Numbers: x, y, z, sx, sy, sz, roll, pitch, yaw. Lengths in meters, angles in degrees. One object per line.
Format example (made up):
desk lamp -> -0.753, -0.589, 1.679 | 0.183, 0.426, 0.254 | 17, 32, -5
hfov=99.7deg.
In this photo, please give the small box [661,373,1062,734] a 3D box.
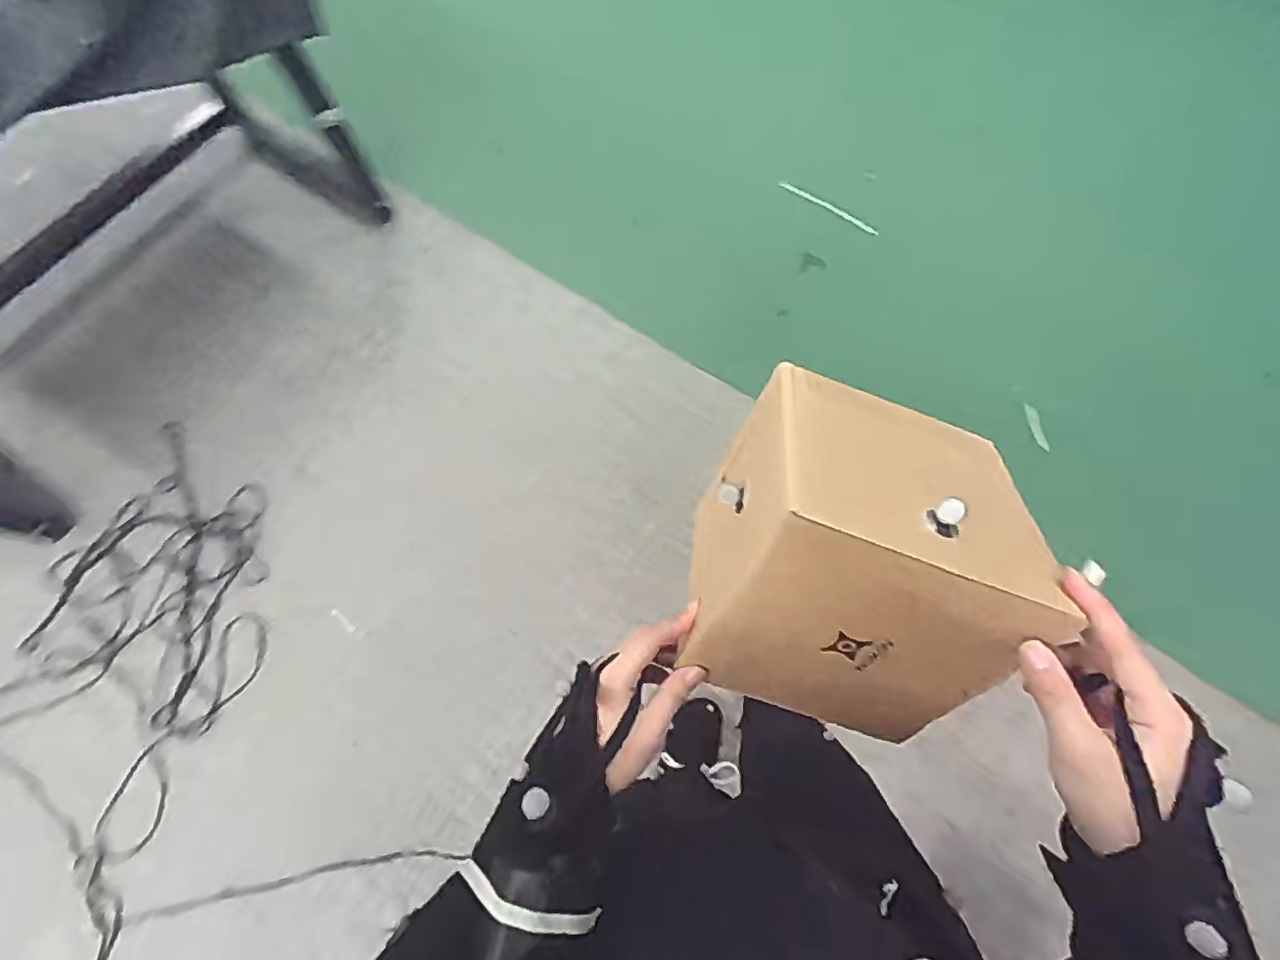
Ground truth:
small box -> 0.130, 0.045, 0.389 | 0.179, 0.168, 0.176 | 18, 40, -5
